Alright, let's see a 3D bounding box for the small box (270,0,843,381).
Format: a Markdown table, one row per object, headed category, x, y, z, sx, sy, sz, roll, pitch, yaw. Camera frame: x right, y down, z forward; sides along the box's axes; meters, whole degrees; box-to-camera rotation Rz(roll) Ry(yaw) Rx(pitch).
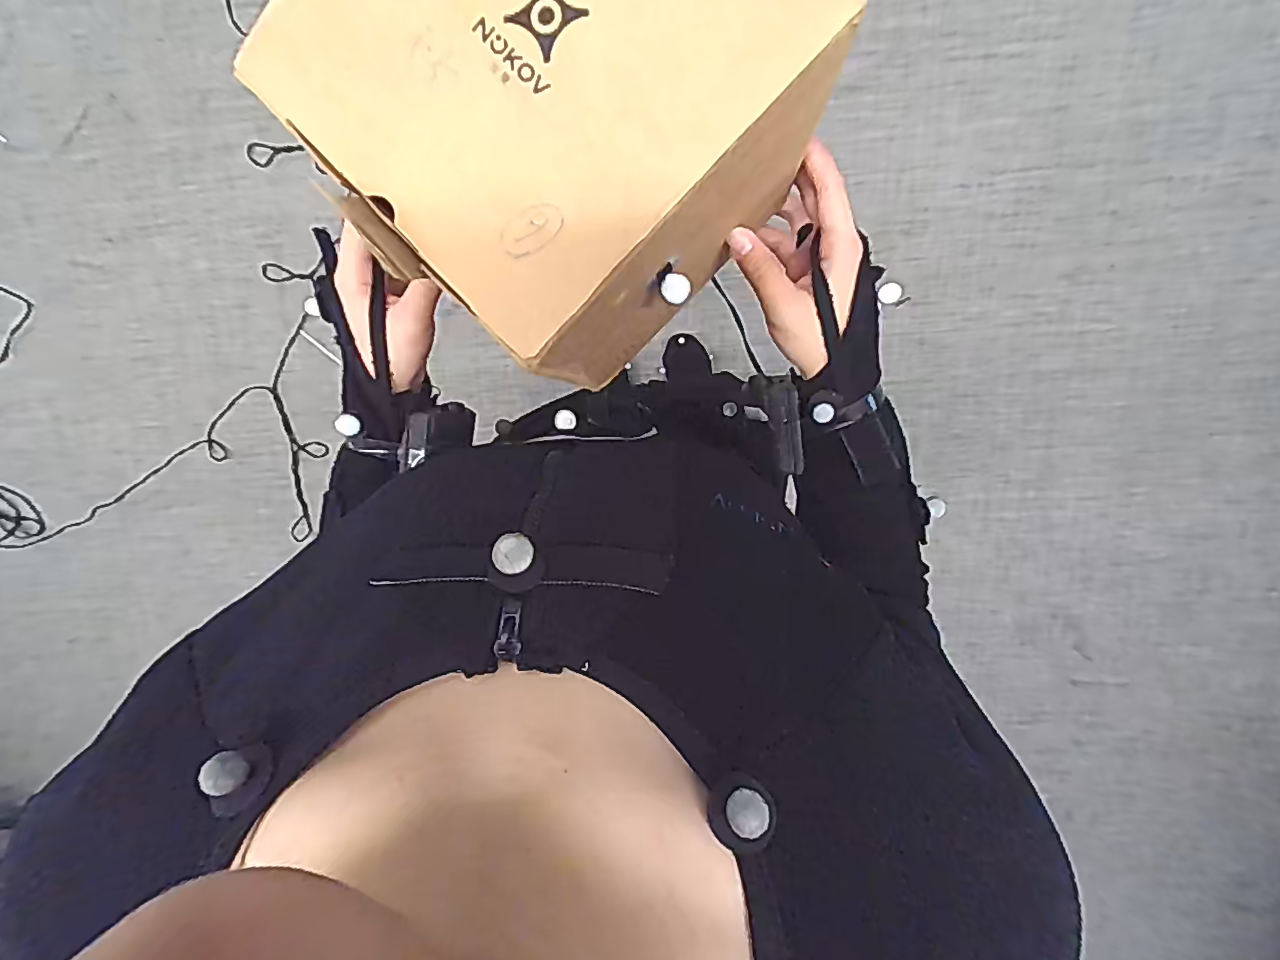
| category | x | y | z | sx | sy | sz | roll | pitch | yaw |
| --- | --- | --- | --- | --- | --- | --- | --- | --- | --- |
| small box | -0.030 | -0.170 | 0.290 | 0.179 | 0.176 | 0.168 | -45 | 91 | 8 |
